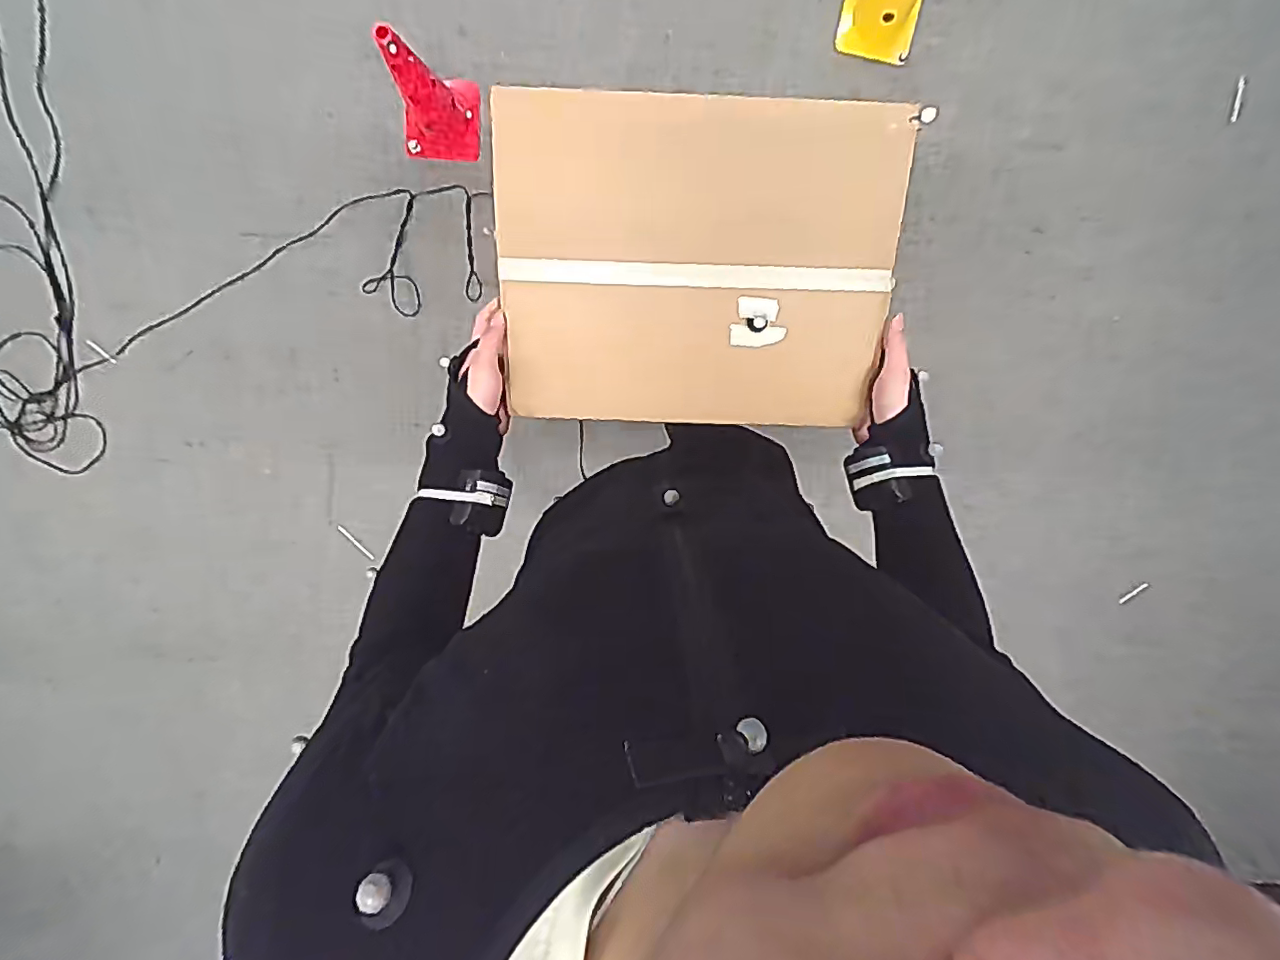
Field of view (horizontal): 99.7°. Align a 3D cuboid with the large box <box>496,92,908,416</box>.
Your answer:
[{"bbox_3d":[0.054,-0.268,0.704,0.408,0.320,0.320,1,110,-2],"label":"large box"}]
